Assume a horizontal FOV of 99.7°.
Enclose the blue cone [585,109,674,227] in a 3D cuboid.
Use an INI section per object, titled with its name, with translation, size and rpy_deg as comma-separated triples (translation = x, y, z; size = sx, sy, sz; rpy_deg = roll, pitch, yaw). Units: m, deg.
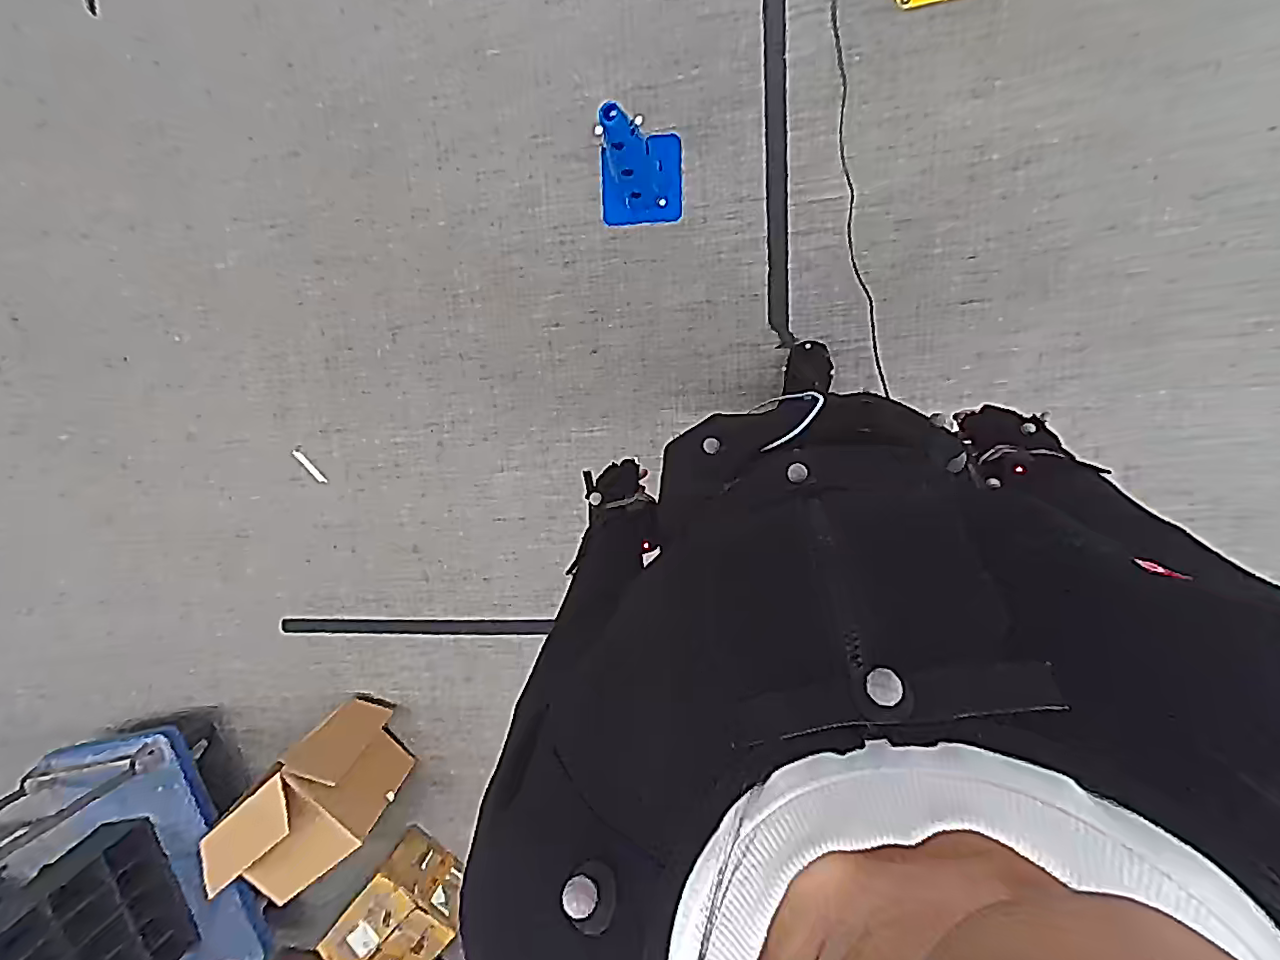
[blue cone]
translation = -0.040, -0.703, 1.176
size = 0.192, 0.380, 0.193
rpy_deg = 2, 101, 10
